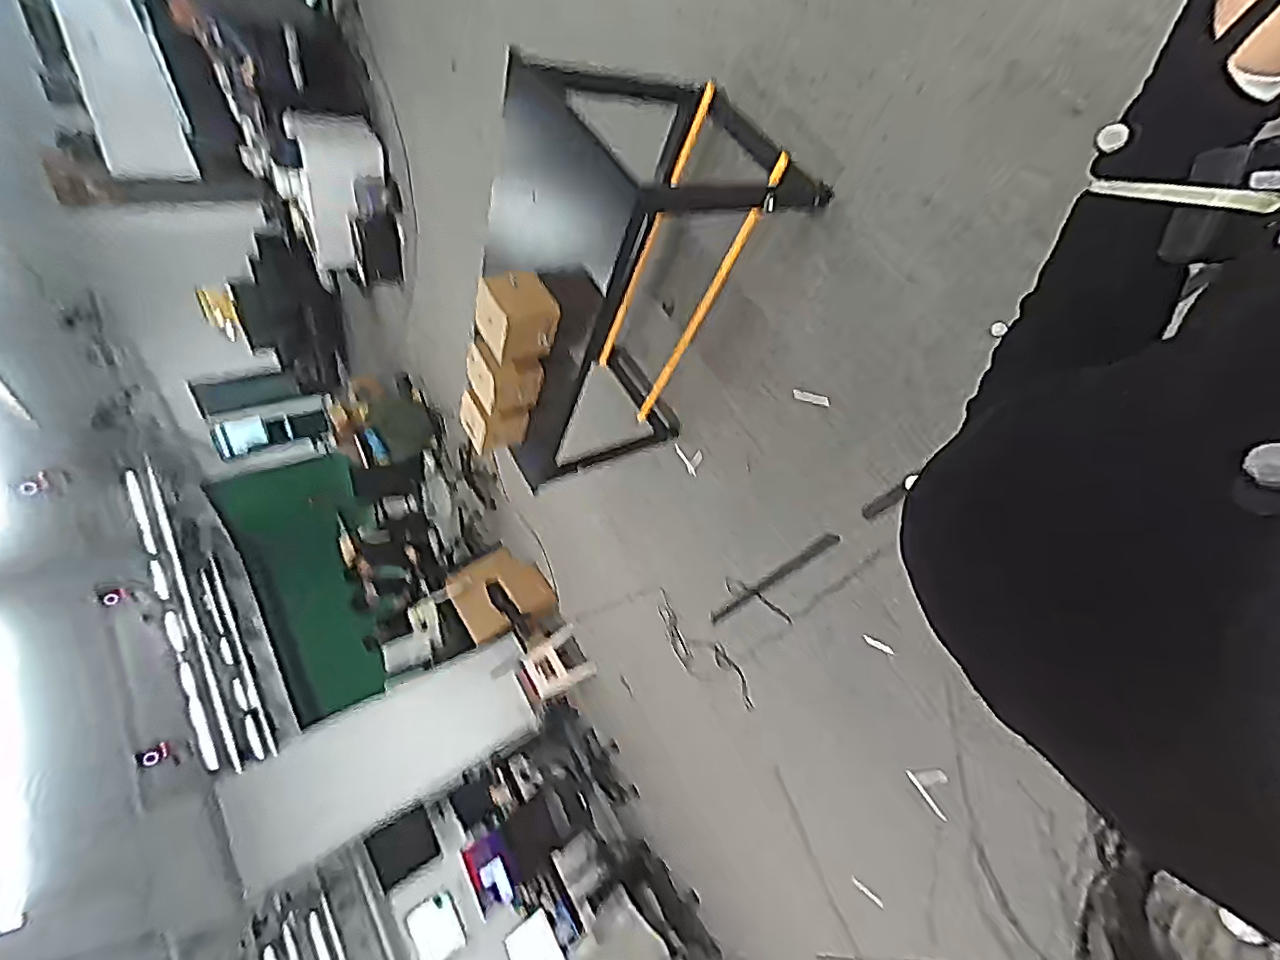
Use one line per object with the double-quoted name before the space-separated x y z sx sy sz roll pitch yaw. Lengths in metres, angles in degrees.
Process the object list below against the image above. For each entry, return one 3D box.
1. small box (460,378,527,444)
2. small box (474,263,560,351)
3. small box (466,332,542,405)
"small box" -0.517 -0.256 1.913 0.168 0.176 0.179 57 144 18
"small box" -0.353 -0.499 1.545 0.179 0.176 0.168 56 146 18
"small box" -0.434 -0.371 1.729 0.179 0.176 0.168 57 144 18
